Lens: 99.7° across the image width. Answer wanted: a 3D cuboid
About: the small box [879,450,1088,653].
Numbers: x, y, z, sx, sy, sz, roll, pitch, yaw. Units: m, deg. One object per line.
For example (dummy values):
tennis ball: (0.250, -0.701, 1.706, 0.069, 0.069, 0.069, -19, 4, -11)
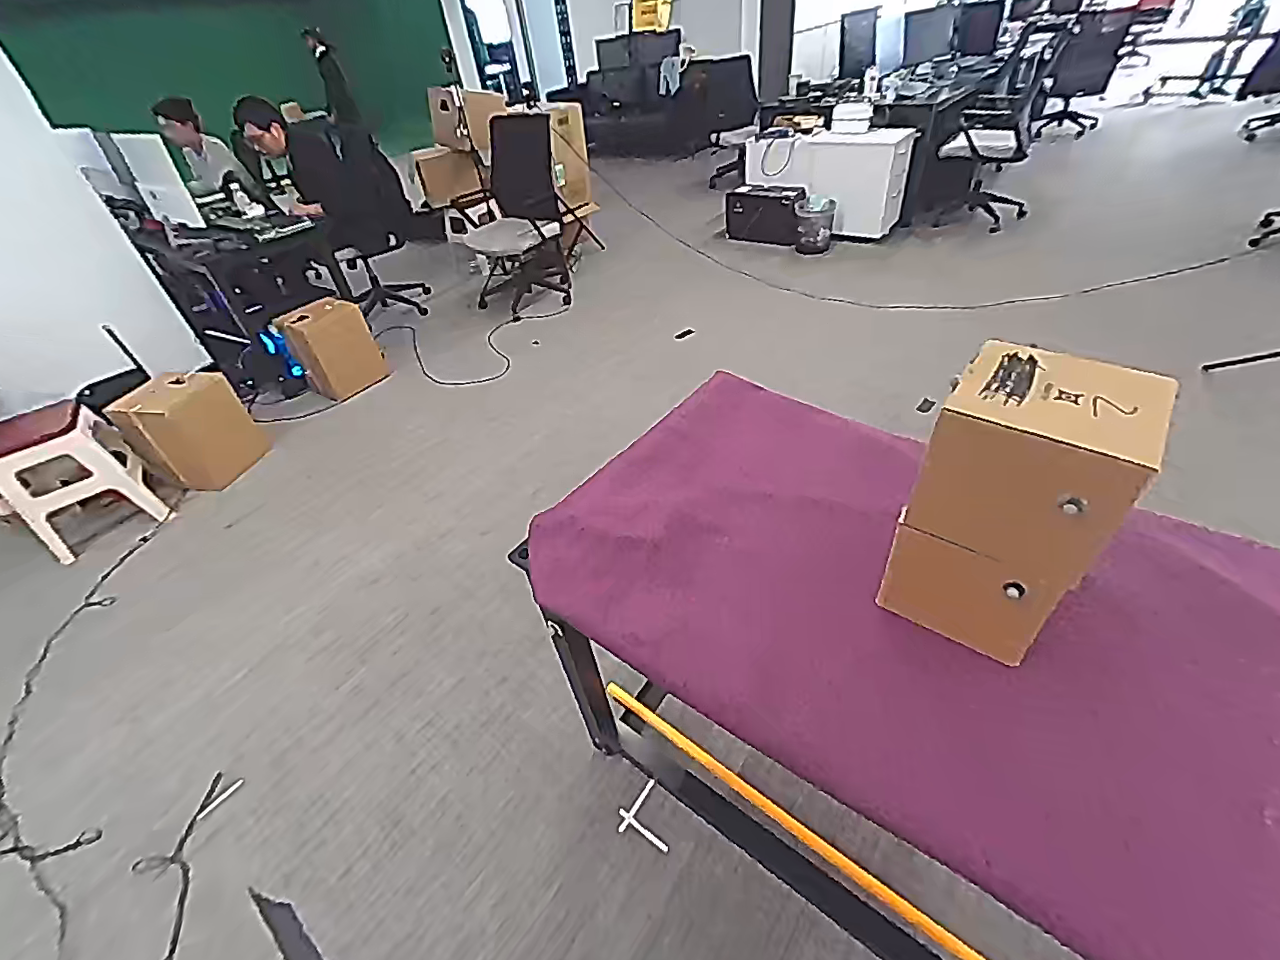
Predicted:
small box: (0.436, 0.092, 0.707, 0.179, 0.176, 0.168, 24, 50, 31)
